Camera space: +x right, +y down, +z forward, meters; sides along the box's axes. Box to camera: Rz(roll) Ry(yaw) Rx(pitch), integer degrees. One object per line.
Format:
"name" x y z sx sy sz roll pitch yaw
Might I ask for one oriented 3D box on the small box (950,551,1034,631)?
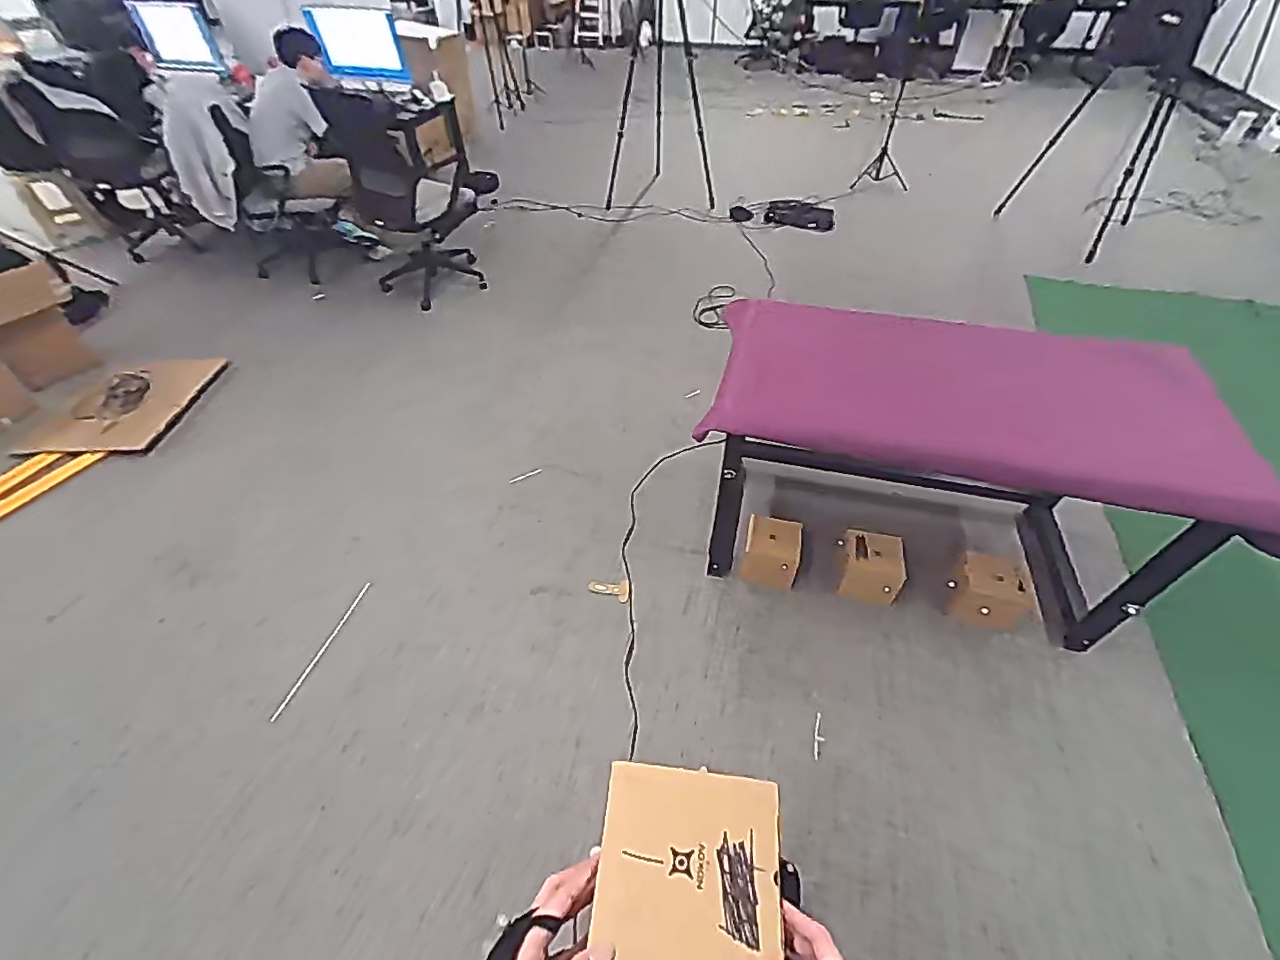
"small box" 1.103 0.355 1.715 0.179 0.176 0.168 12 49 14

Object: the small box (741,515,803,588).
"small box" 0.447 0.247 1.840 0.179 0.176 0.168 10 48 11
